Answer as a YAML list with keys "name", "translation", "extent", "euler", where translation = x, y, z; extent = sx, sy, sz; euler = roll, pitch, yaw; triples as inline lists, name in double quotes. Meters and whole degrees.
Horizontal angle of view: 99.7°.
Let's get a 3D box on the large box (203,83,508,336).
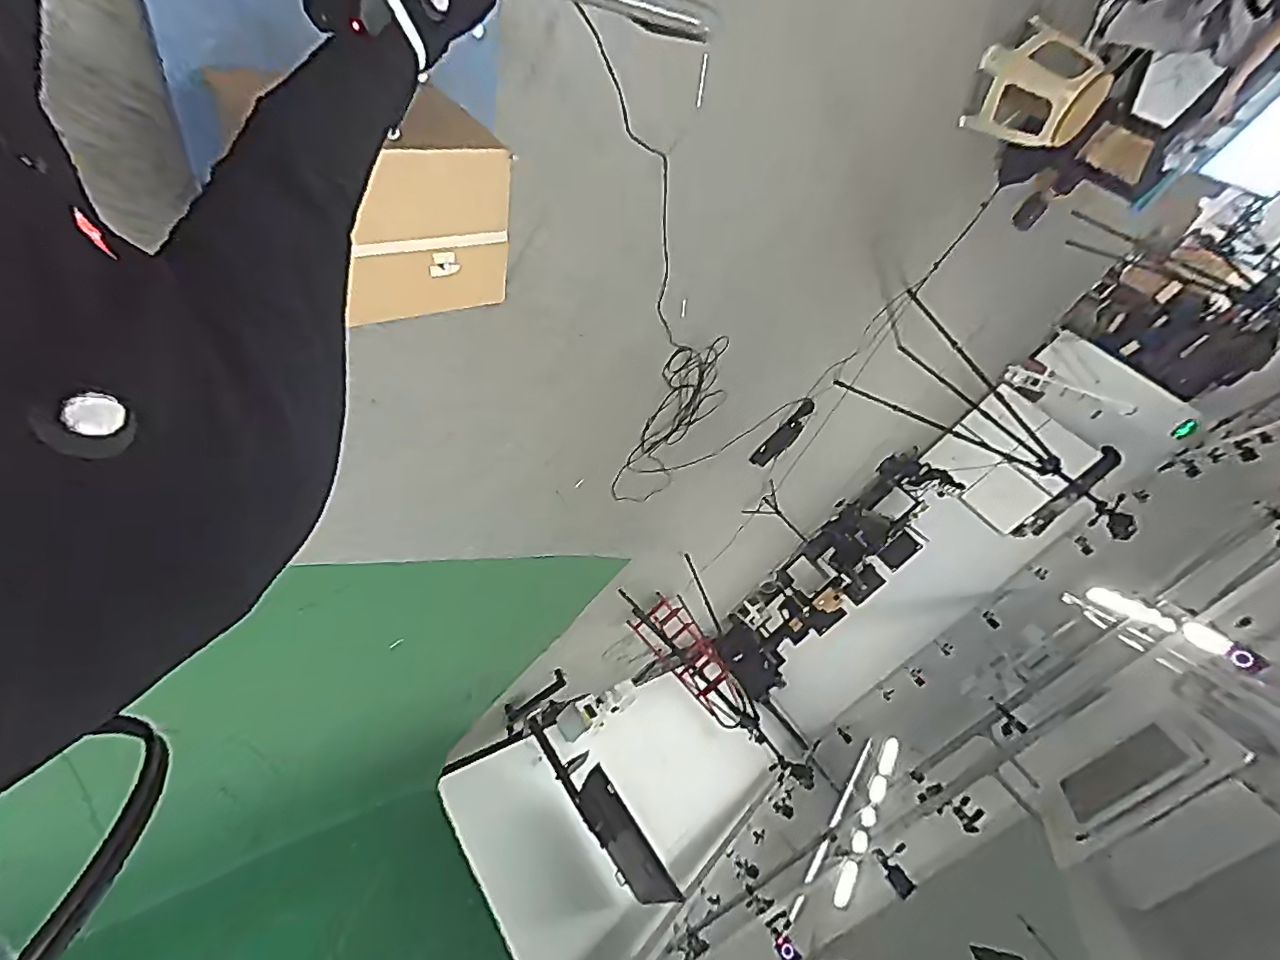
- name: "large box"
  translation: [-0.512, -0.530, 1.040]
  extent: [0.408, 0.320, 0.320]
  euler: [-25, 151, -32]
